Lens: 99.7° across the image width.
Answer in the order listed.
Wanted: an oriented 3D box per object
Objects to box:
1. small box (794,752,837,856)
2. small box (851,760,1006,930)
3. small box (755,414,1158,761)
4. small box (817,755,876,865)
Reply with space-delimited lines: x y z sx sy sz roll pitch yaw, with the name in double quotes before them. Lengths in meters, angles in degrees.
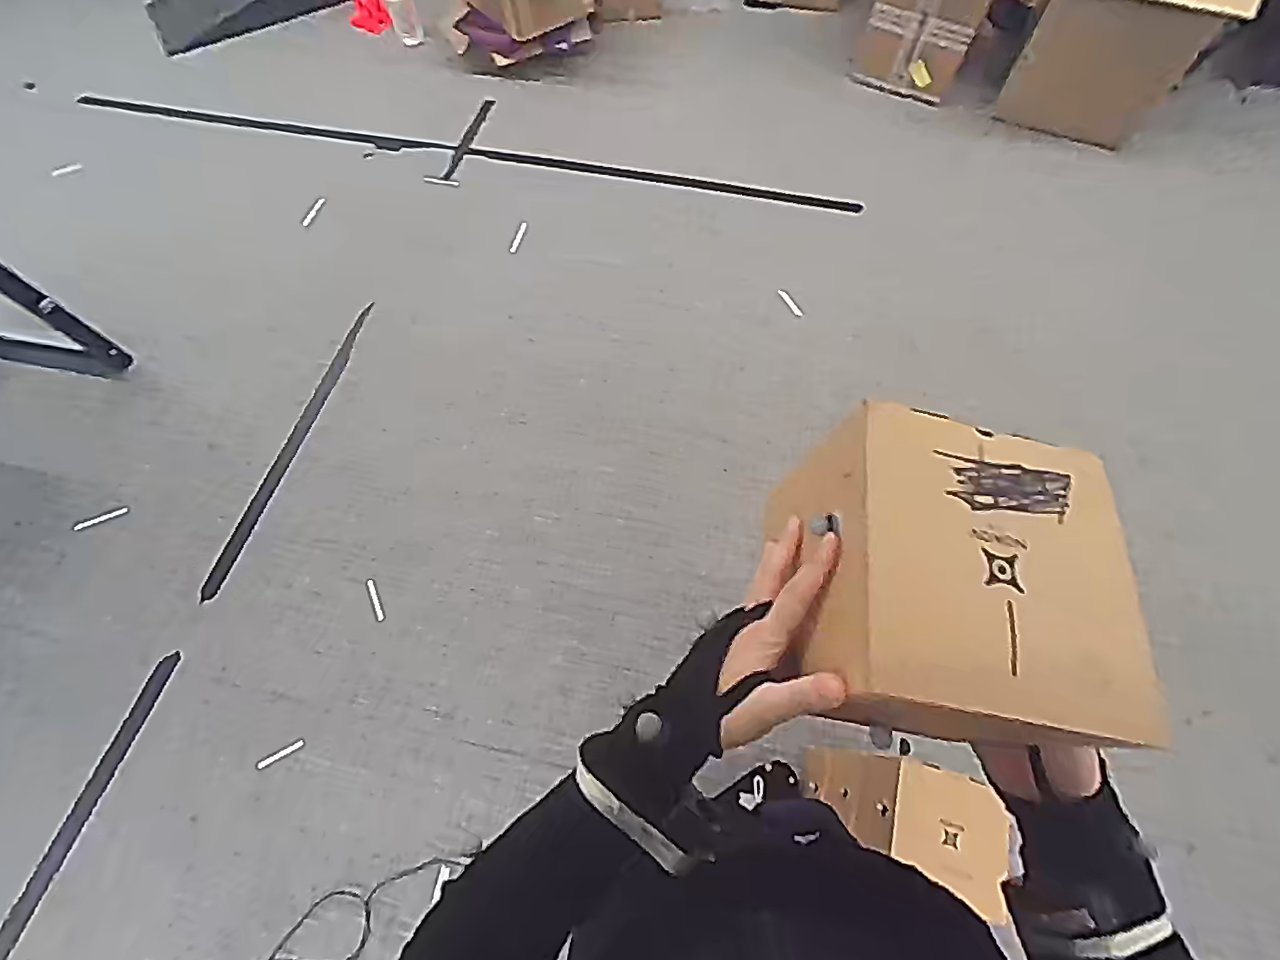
"small box" 0.445 0.713 1.176 0.168 0.176 0.179 16 66 8
"small box" 0.460 0.574 0.881 0.168 0.176 0.179 16 66 9
"small box" 0.190 0.084 0.382 0.168 0.176 0.179 13 65 -4
"small box" 0.453 0.643 1.027 0.168 0.176 0.179 19 66 10
